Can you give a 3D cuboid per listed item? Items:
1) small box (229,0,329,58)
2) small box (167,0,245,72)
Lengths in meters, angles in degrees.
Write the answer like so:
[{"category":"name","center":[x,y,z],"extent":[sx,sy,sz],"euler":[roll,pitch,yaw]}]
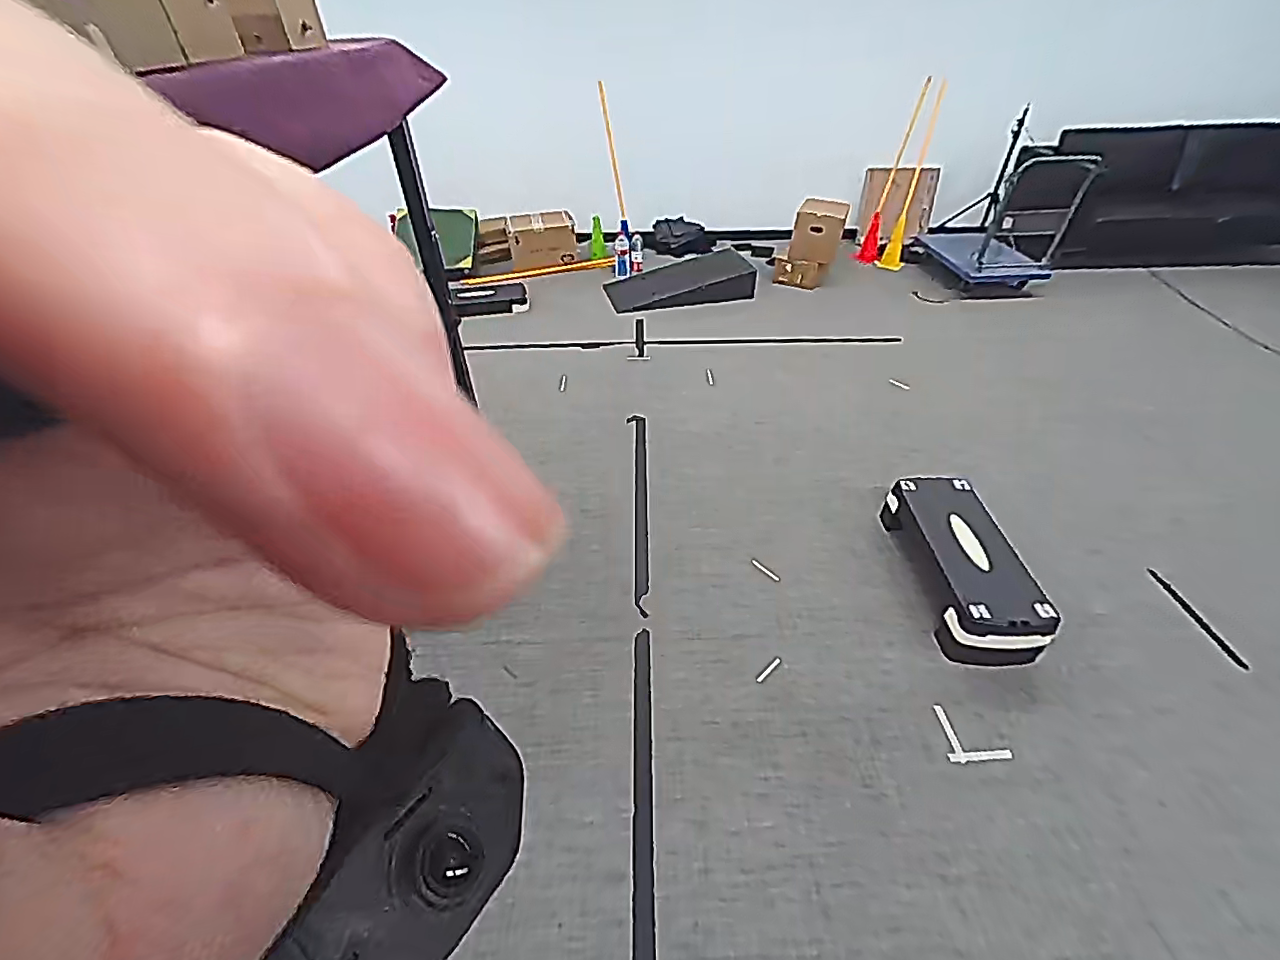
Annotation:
[{"category":"small box","center":[-0.813,-1.033,1.178],"extent":[0.168,0.176,0.179],"euler":[0,40,2]},{"category":"small box","center":[-0.815,-0.799,0.910],"extent":[0.168,0.176,0.179],"euler":[-1,41,1]}]
